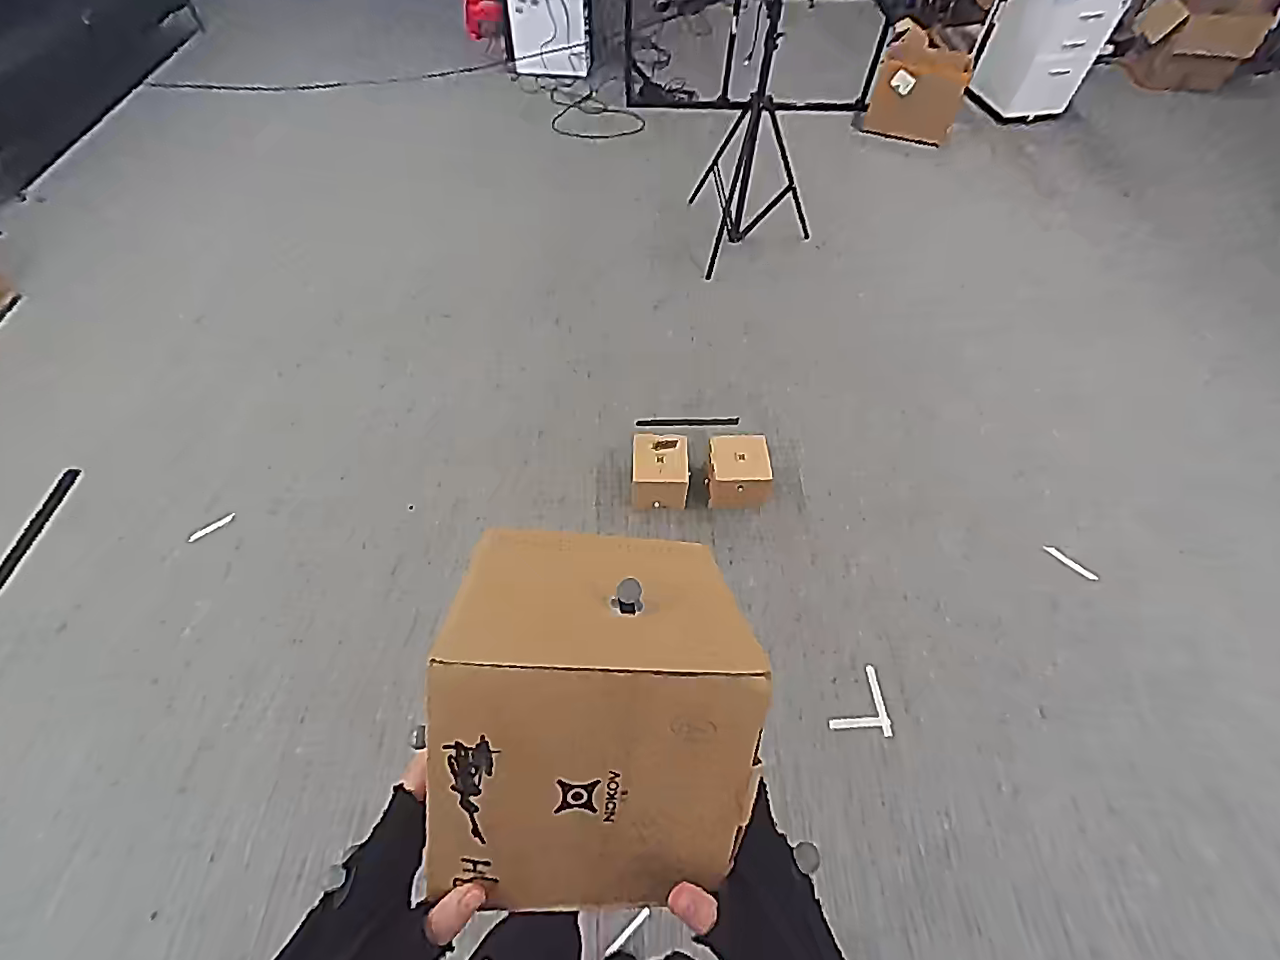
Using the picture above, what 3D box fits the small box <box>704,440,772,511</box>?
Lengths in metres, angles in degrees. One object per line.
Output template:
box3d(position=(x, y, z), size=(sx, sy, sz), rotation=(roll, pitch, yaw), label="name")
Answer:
box3d(position=(0.299, -0.010, 1.699), size=(0.179, 0.176, 0.168), rotation=(-1, 58, -3), label="small box")

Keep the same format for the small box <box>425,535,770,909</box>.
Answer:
box3d(position=(-0.035, 0.146, 0.371), size=(0.179, 0.168, 0.176), rotation=(5, 16, -9), label="small box")

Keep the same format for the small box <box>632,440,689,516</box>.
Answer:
box3d(position=(0.061, -0.006, 1.689), size=(0.168, 0.176, 0.179), rotation=(1, 57, 0), label="small box")
